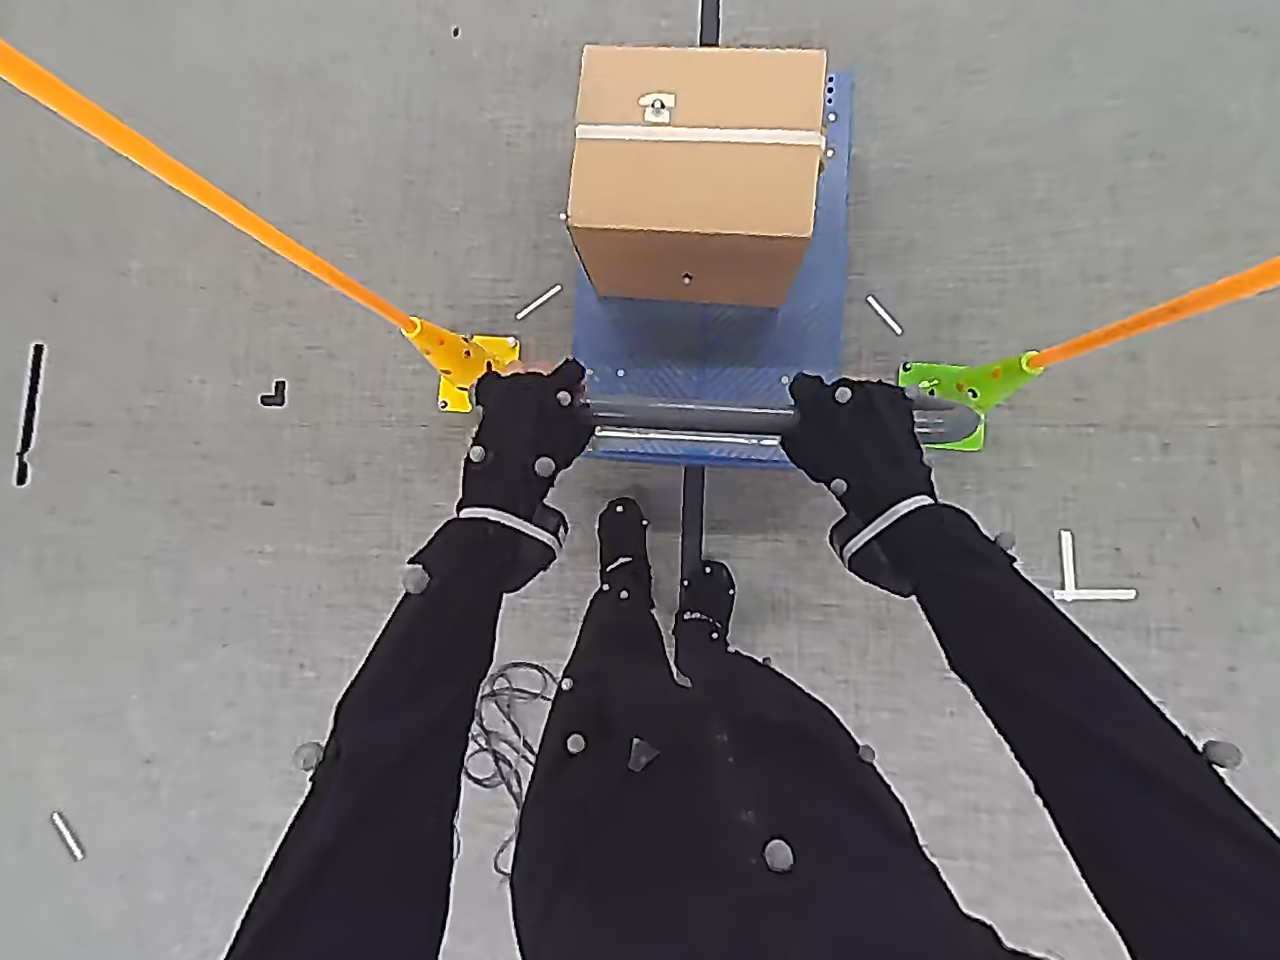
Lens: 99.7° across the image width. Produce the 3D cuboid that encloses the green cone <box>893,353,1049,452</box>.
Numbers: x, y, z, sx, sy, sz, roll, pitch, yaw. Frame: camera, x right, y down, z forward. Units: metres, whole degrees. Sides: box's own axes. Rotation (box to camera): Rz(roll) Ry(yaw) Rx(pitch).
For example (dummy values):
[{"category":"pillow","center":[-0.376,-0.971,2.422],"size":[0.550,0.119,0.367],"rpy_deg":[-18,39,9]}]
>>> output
[{"category":"green cone","center":[0.695,-0.183,1.111],"size":[0.202,0.368,0.200],"rpy_deg":[5,86,5]}]

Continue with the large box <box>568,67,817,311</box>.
[{"category":"large box","center":[0.102,-0.534,1.049],"size":[0.408,0.320,0.320],"rpy_deg":[5,87,6]}]
